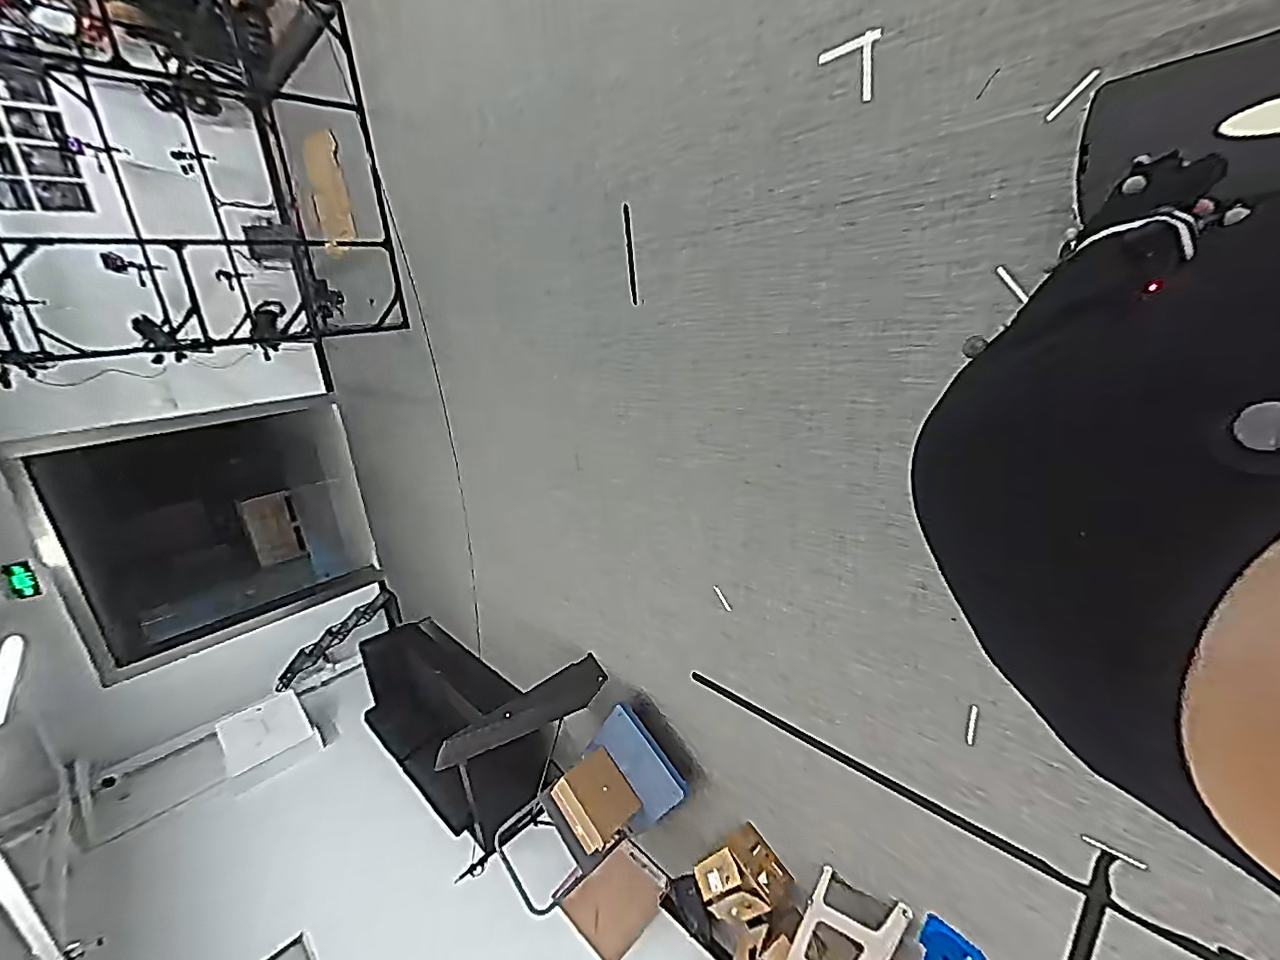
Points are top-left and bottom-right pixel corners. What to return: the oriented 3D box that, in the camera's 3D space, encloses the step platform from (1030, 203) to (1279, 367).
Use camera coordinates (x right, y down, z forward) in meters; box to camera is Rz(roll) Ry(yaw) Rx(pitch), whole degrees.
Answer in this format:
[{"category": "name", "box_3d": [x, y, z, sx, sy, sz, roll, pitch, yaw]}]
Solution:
[{"category": "step platform", "box_3d": [1.161, -0.366, 1.026, 0.684, 0.204, 0.286, 13, 115, 46]}]
